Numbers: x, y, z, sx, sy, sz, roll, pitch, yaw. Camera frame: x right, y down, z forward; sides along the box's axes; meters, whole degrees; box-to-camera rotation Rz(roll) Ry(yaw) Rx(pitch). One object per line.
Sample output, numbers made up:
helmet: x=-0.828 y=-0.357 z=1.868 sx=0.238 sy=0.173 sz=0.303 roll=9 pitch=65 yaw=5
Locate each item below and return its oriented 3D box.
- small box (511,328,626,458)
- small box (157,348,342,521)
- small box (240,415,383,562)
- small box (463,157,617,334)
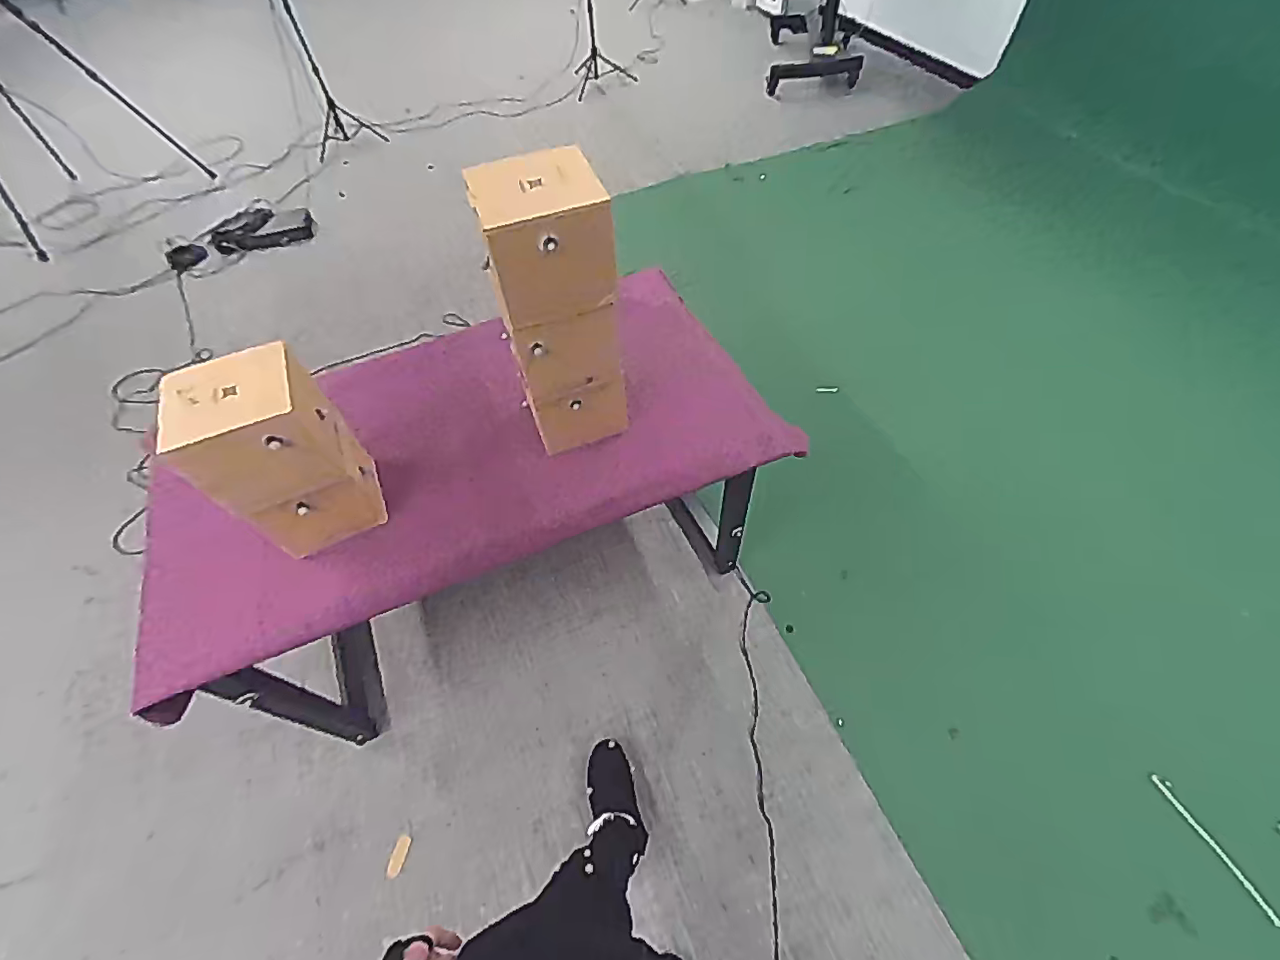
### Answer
small box: x=-0.139 y=-0.170 z=1.085 sx=0.179 sy=0.176 sz=0.168 roll=-19 pitch=56 yaw=-11
small box: x=-0.585 y=-0.067 z=0.835 sx=0.179 sy=0.176 sz=0.168 roll=-22 pitch=57 yaw=-12
small box: x=-0.588 y=0.018 z=0.978 sx=0.179 sy=0.176 sz=0.168 roll=-24 pitch=58 yaw=-13
small box: x=-0.143 y=-0.345 z=0.808 sx=0.179 sy=0.176 sz=0.168 roll=-18 pitch=57 yaw=-10
